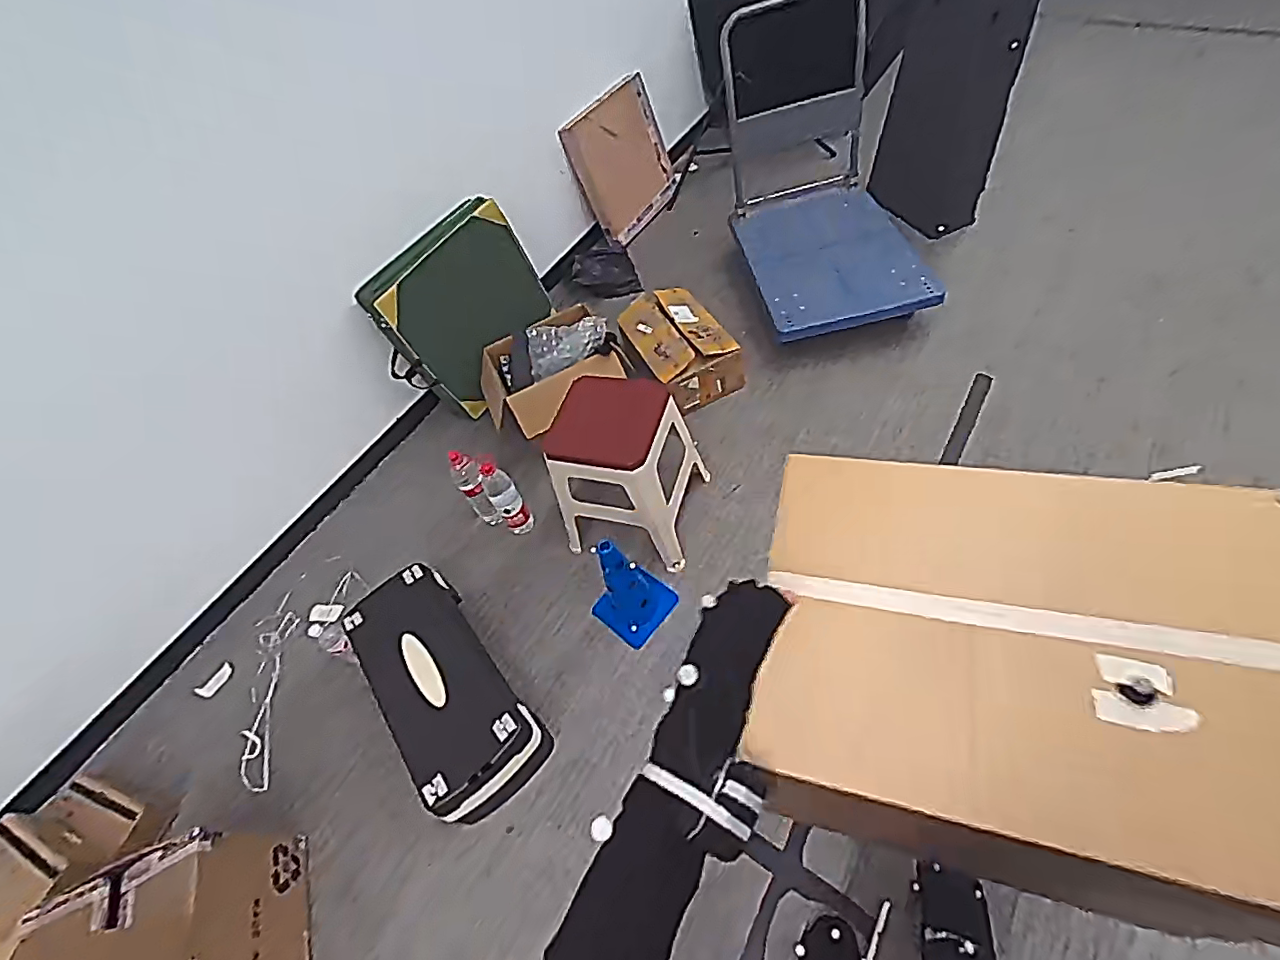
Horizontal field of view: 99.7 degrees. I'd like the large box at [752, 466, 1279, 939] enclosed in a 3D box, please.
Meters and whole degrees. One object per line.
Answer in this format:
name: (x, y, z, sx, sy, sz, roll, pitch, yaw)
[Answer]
large box: (0.348, 0.213, 0.563, 0.408, 0.320, 0.320, 7, 55, 21)
